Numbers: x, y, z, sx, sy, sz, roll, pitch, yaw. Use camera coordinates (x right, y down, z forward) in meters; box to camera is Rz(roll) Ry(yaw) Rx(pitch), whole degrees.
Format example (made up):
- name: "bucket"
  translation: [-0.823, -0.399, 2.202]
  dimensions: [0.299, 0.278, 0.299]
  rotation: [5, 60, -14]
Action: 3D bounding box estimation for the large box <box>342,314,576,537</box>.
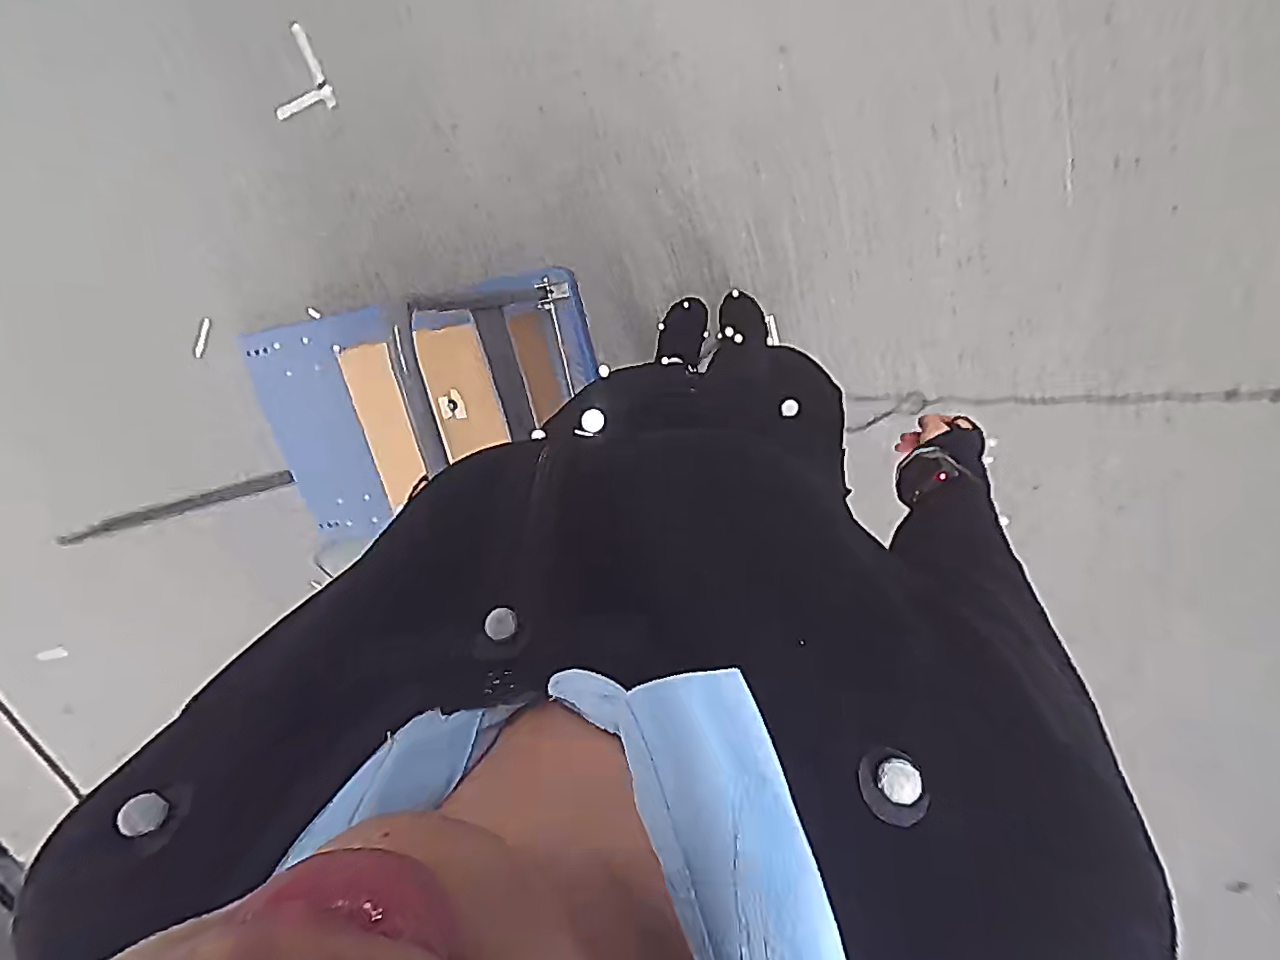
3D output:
- name: "large box"
  translation: [-0.361, -0.132, 1.194]
  dimensions: [0.320, 0.320, 0.408]
  rotation: [-8, 108, 9]
